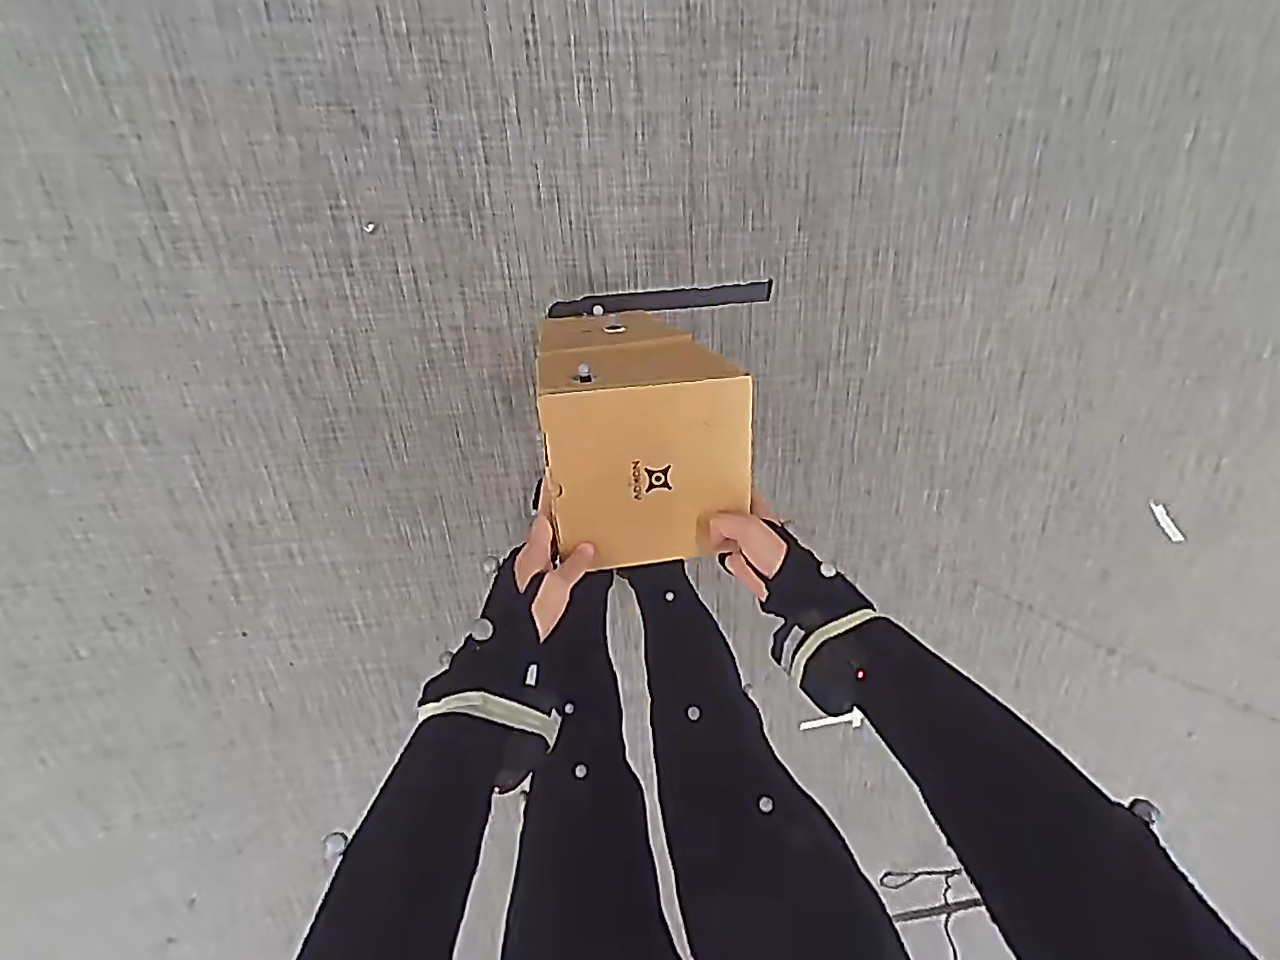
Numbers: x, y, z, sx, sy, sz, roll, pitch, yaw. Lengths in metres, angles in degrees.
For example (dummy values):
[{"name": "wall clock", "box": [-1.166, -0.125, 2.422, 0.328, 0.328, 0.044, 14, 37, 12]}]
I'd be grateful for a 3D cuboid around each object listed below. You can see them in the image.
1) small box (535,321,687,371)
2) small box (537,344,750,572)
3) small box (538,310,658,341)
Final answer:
[{"name": "small box", "box": [-0.034, -0.096, 0.680, 0.168, 0.176, 0.179, -9, 112, -6]}, {"name": "small box", "box": [-0.004, -0.034, 0.532, 0.179, 0.176, 0.168, -7, 114, -6]}, {"name": "small box", "box": [-0.059, -0.157, 0.827, 0.168, 0.176, 0.179, -8, 113, -6]}]
